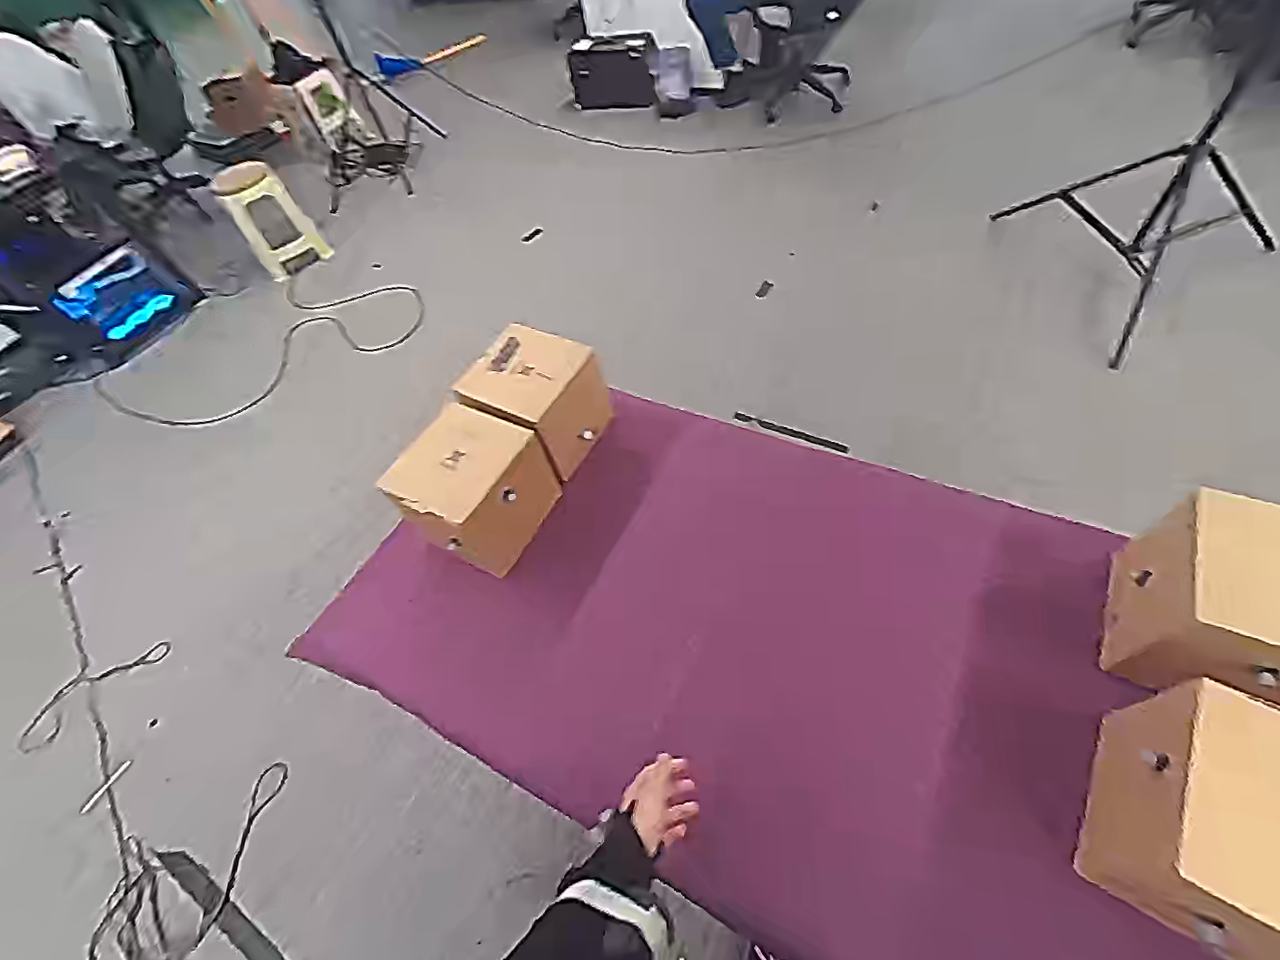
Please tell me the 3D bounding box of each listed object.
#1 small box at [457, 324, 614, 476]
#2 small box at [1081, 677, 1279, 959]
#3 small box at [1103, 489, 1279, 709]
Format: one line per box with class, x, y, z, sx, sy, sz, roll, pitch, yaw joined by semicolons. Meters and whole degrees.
small box;-0.167;-0.133;0.922;0.179;0.176;0.168;23;64;22
small box;0.536;0.315;0.481;0.168;0.176;0.179;24;62;26
small box;0.642;0.142;0.575;0.179;0.176;0.168;21;63;23
